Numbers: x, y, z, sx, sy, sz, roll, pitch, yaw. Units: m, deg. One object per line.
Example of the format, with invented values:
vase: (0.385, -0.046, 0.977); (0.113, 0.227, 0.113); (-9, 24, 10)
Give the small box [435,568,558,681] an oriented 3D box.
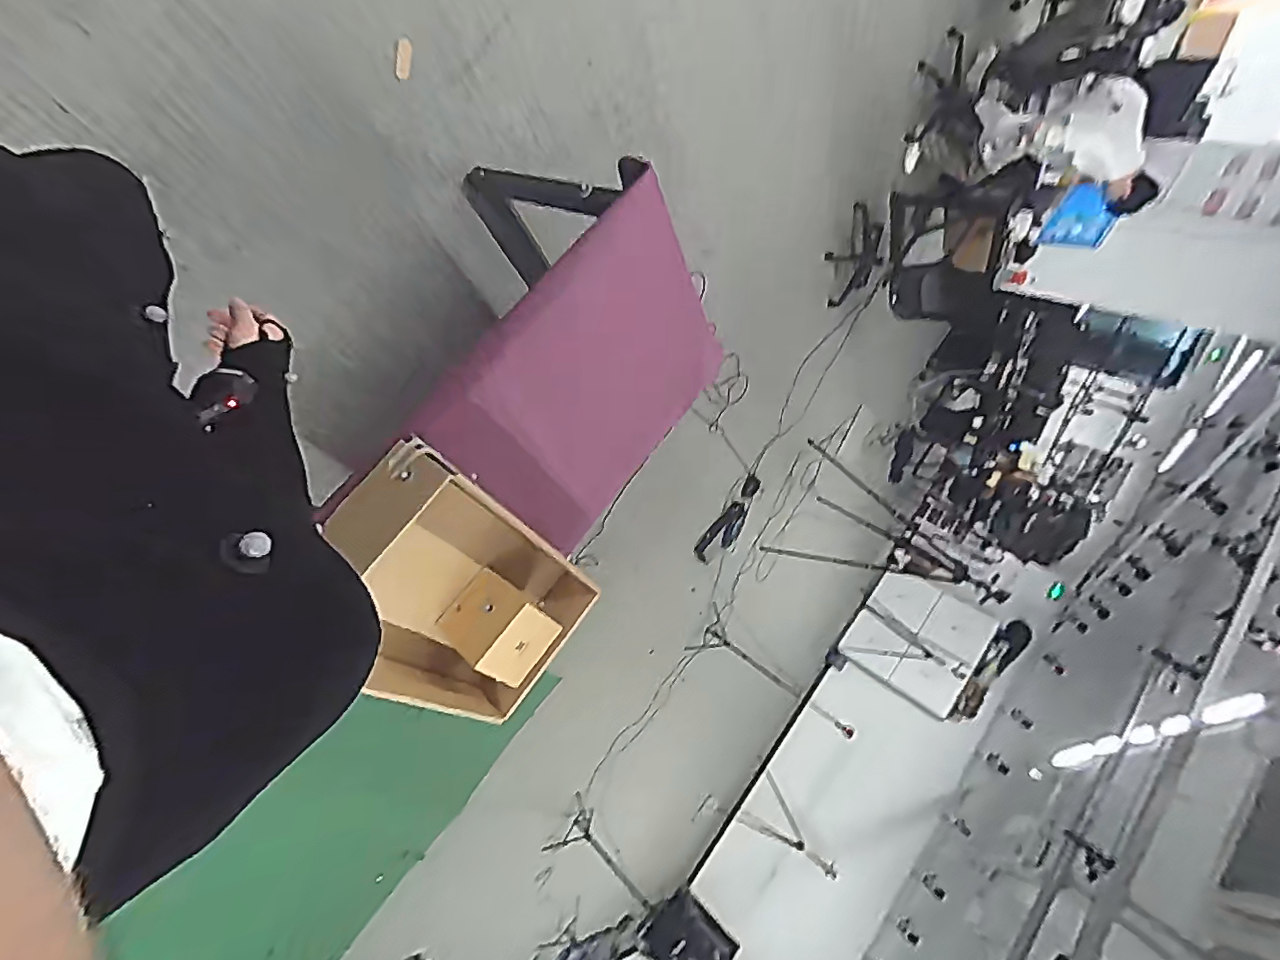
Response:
small box: (-0.328, 0.323, 1.231); (0.168, 0.176, 0.179); (-51, 145, -15)
